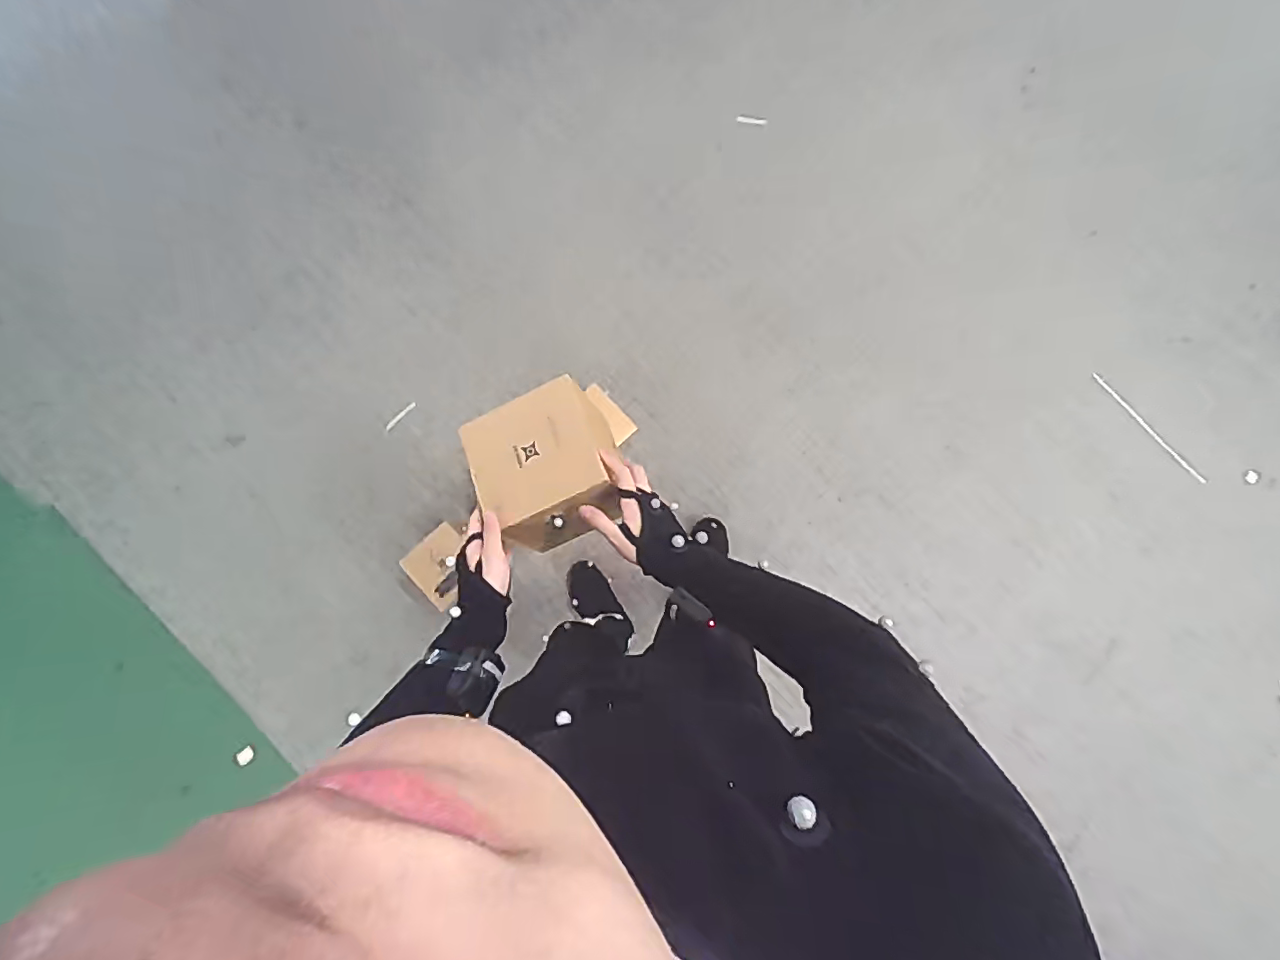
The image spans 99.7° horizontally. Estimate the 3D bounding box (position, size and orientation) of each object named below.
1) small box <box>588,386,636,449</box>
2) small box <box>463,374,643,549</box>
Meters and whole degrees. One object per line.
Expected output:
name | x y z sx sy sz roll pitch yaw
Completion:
small box | -0.128 -0.134 1.524 0.168 0.176 0.179 -44 88 -4
small box | -0.117 -0.014 0.772 0.179 0.176 0.168 -25 69 7
